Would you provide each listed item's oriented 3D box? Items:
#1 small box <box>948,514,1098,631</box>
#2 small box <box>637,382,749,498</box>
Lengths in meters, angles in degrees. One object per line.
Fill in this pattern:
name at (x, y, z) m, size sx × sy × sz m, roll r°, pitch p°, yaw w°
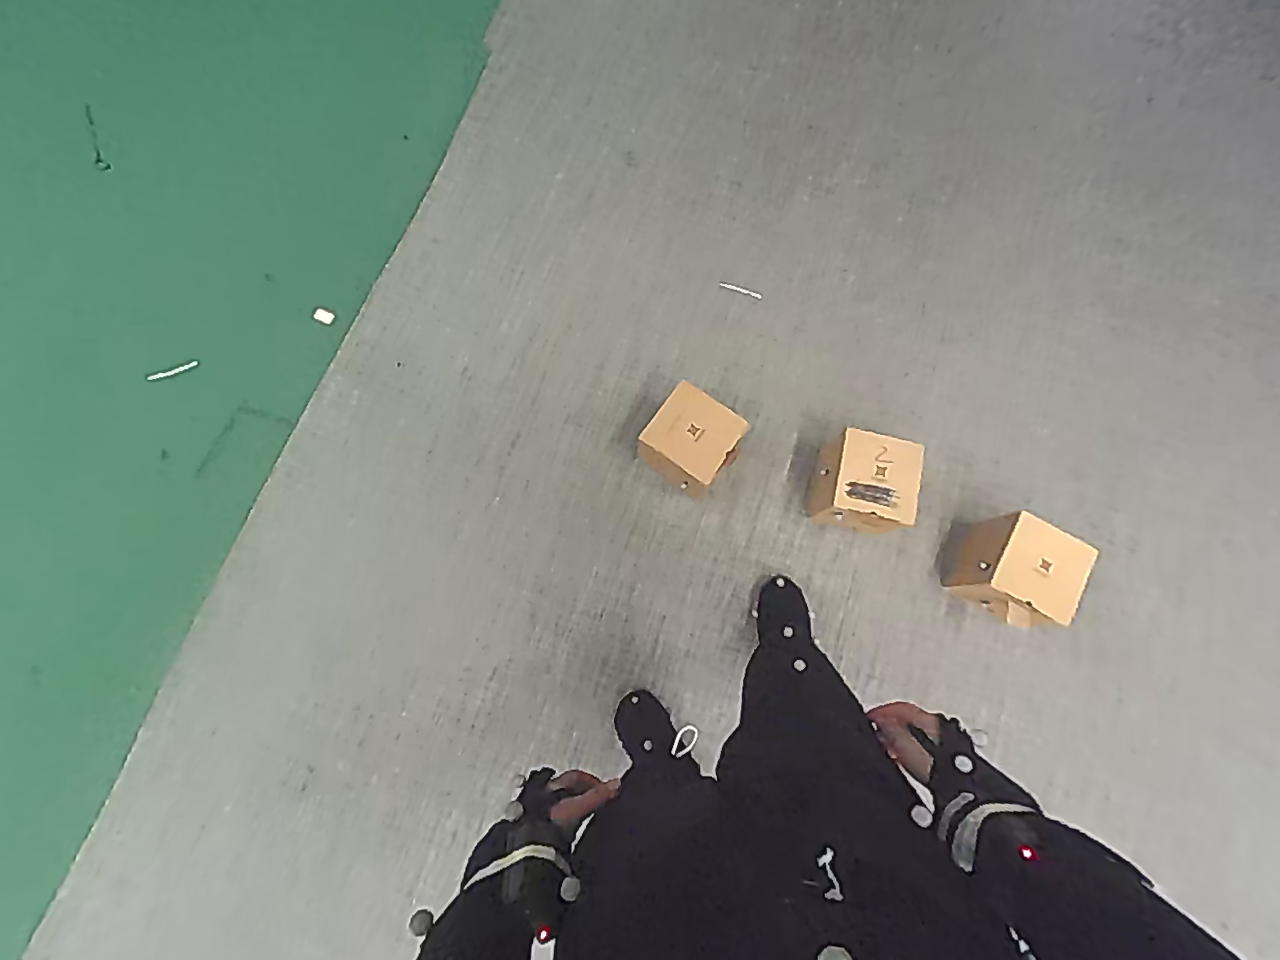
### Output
small box at (0.788, 0.194, 1.131) m, size 0.168 × 0.176 × 0.179 m, roll 30°, pitch 79°, yaw 5°
small box at (0.109, -0.077, 1.182) m, size 0.179 × 0.176 × 0.168 m, roll 35°, pitch 77°, yaw 8°
